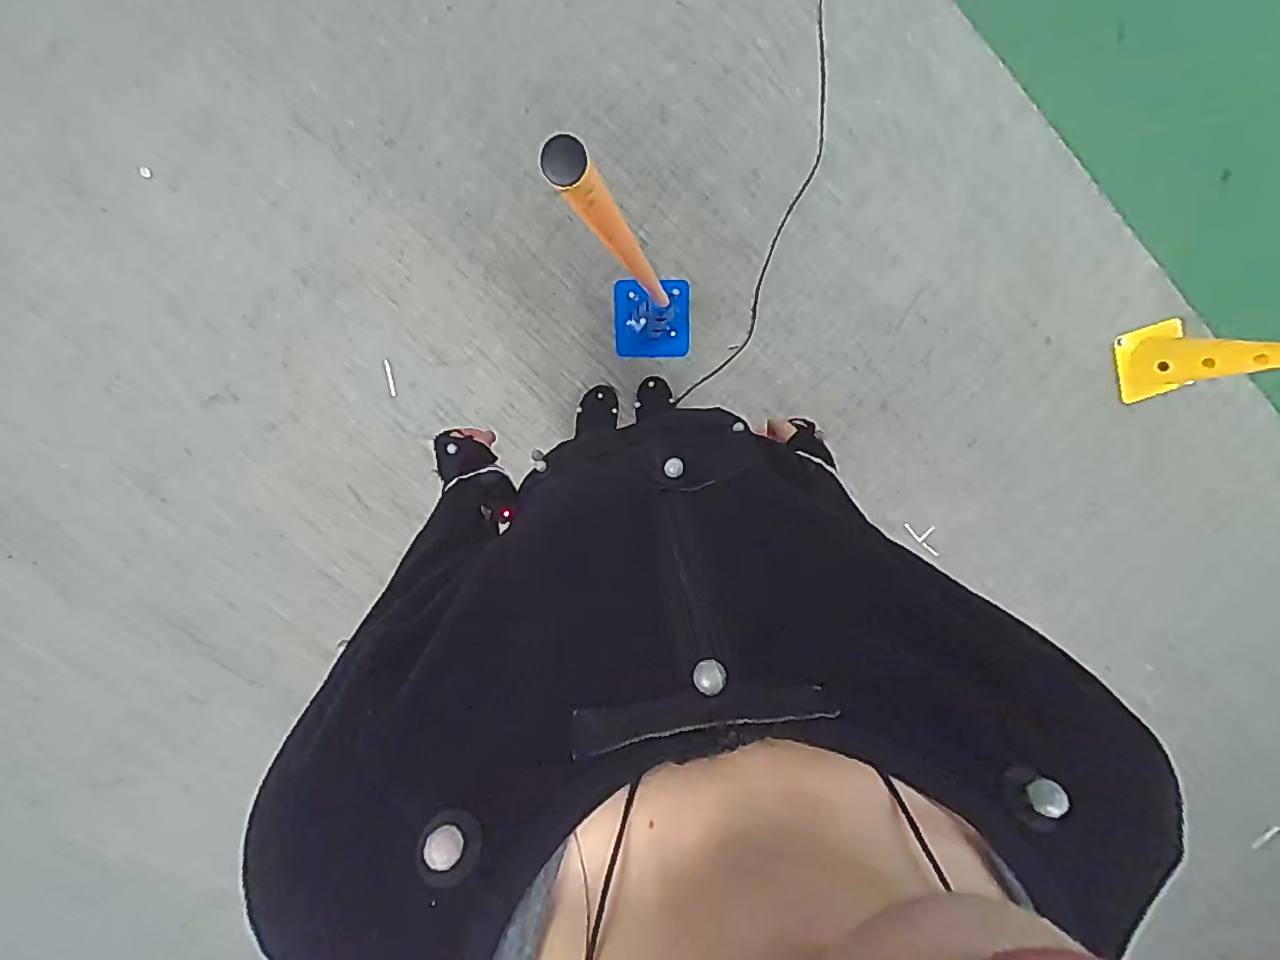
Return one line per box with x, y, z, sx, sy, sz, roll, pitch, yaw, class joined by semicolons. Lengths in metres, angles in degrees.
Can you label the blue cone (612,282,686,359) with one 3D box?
0.030;-0.385;1.253;0.193;0.380;0.192;-3;101;-1;blue cone
